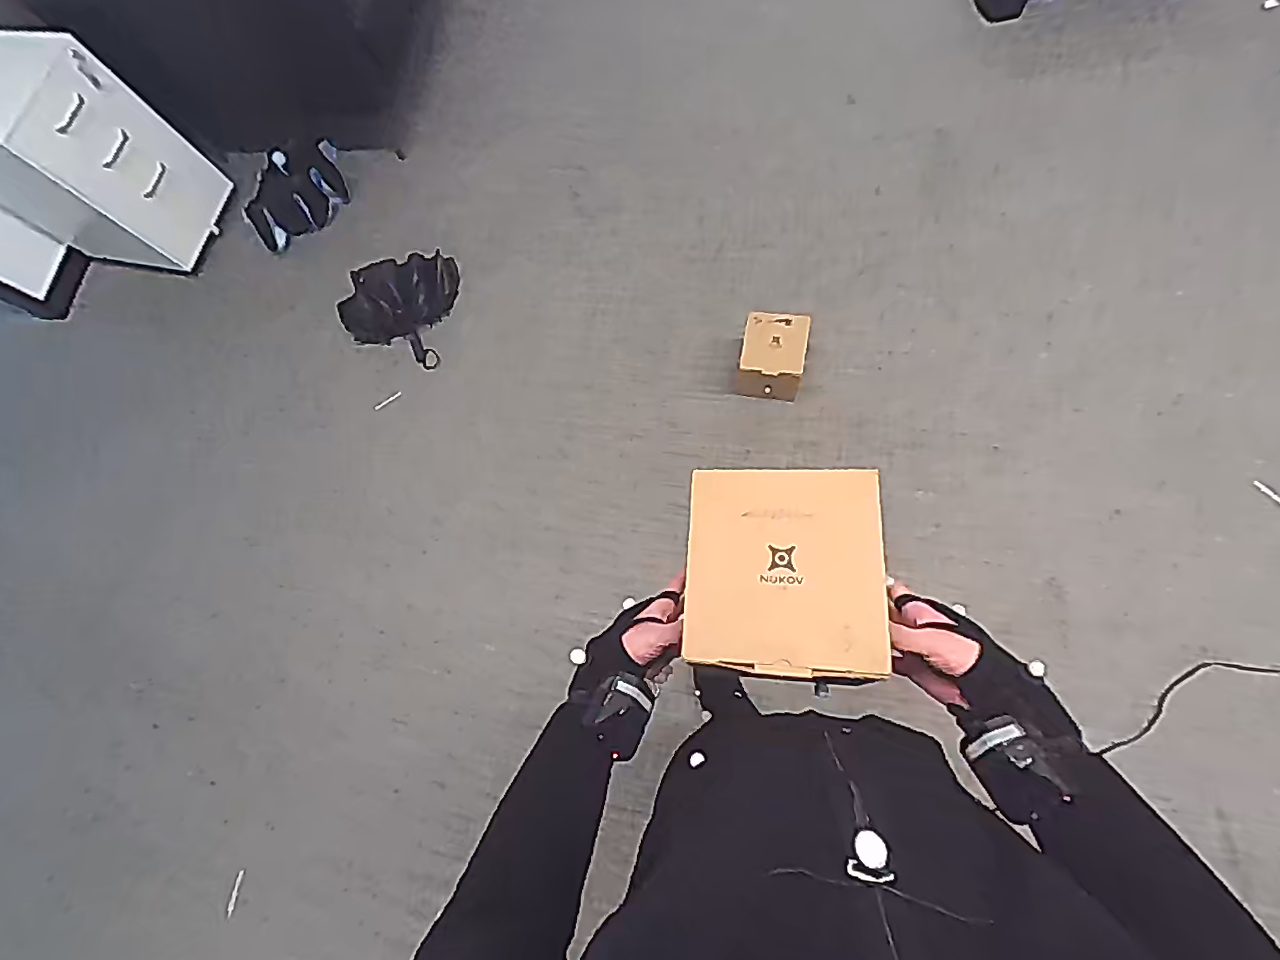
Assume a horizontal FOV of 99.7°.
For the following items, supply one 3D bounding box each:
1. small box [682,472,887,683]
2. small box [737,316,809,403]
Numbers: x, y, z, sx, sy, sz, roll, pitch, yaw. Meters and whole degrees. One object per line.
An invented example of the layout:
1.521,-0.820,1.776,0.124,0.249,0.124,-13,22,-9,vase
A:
0.139,0.103,0.541,0.168,0.176,0.179,1,67,12,small box
0.369,-0.331,1.512,0.168,0.176,0.179,9,76,12,small box
